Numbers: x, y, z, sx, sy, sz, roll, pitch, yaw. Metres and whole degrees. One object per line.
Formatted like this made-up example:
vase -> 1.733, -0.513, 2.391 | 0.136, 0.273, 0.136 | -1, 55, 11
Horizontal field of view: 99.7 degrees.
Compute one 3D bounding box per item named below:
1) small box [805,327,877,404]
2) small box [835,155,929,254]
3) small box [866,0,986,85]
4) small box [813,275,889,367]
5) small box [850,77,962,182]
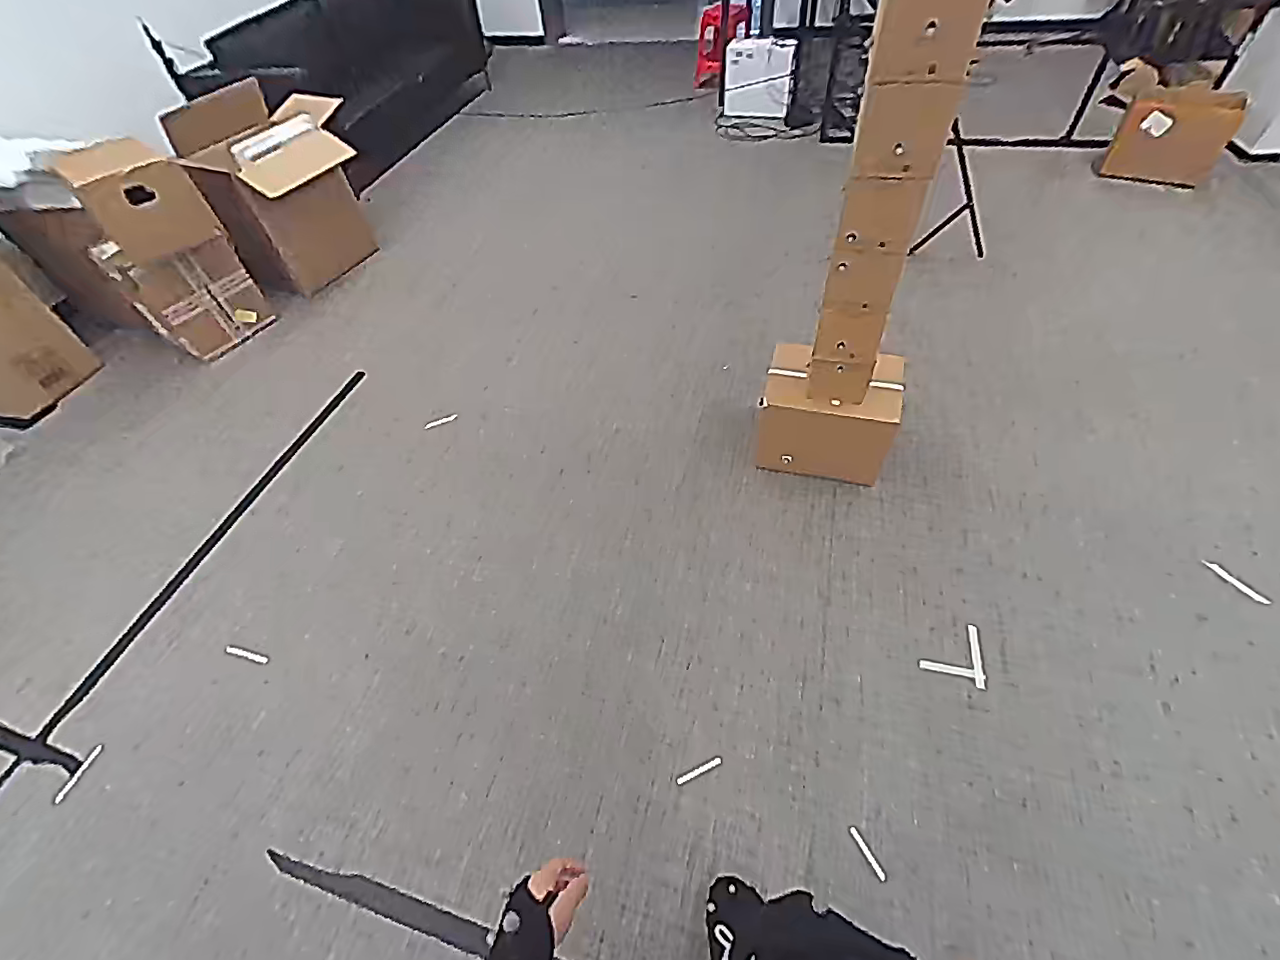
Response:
small box -> 0.603, -0.348, 1.631 | 0.179, 0.176, 0.168 | 9, 54, 12
small box -> 0.552, -0.641, 1.242 | 0.168, 0.176, 0.179 | 11, 54, 15
small box -> 0.519, -0.843, 0.985 | 0.168, 0.176, 0.179 | 8, 55, 12
small box -> 0.582, -0.442, 1.501 | 0.168, 0.176, 0.179 | 9, 55, 13
small box -> 0.537, -0.740, 1.111 | 0.168, 0.176, 0.179 | 9, 55, 14
